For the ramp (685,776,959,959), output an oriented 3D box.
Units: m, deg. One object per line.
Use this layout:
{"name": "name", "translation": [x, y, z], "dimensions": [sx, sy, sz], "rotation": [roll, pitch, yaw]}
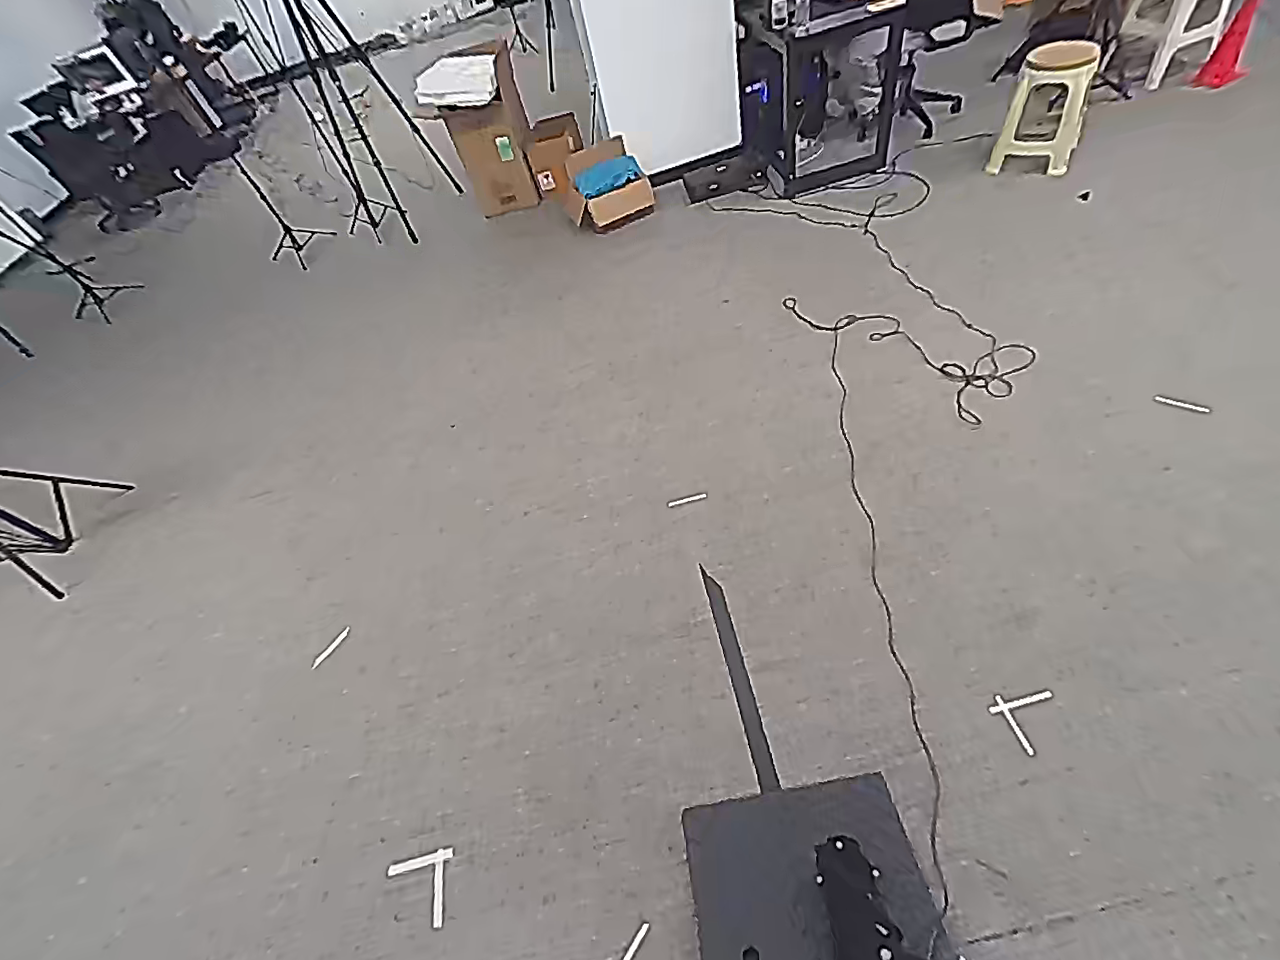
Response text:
{"name": "ramp", "translation": [0.386, 1.077, 0.924], "dimensions": [0.509, 0.206, 0.991], "rotation": [-16, 49, 4]}
